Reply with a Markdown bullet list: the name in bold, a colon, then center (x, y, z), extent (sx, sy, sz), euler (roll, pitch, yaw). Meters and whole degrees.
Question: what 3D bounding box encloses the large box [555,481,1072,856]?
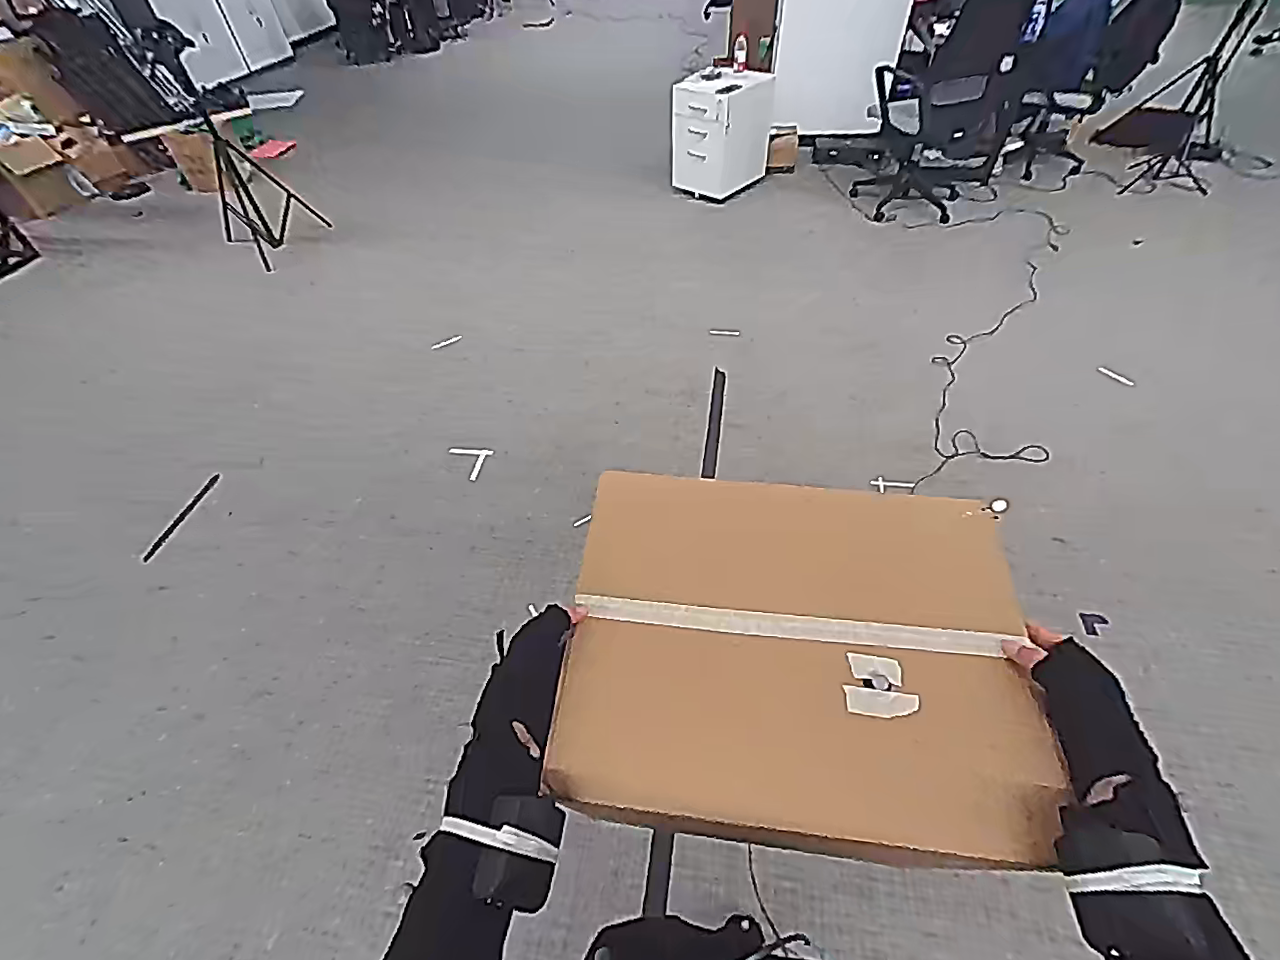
- **large box**: center (0.144, 0.223, 0.621), extent (0.408, 0.320, 0.320), euler (5, 57, 5)
